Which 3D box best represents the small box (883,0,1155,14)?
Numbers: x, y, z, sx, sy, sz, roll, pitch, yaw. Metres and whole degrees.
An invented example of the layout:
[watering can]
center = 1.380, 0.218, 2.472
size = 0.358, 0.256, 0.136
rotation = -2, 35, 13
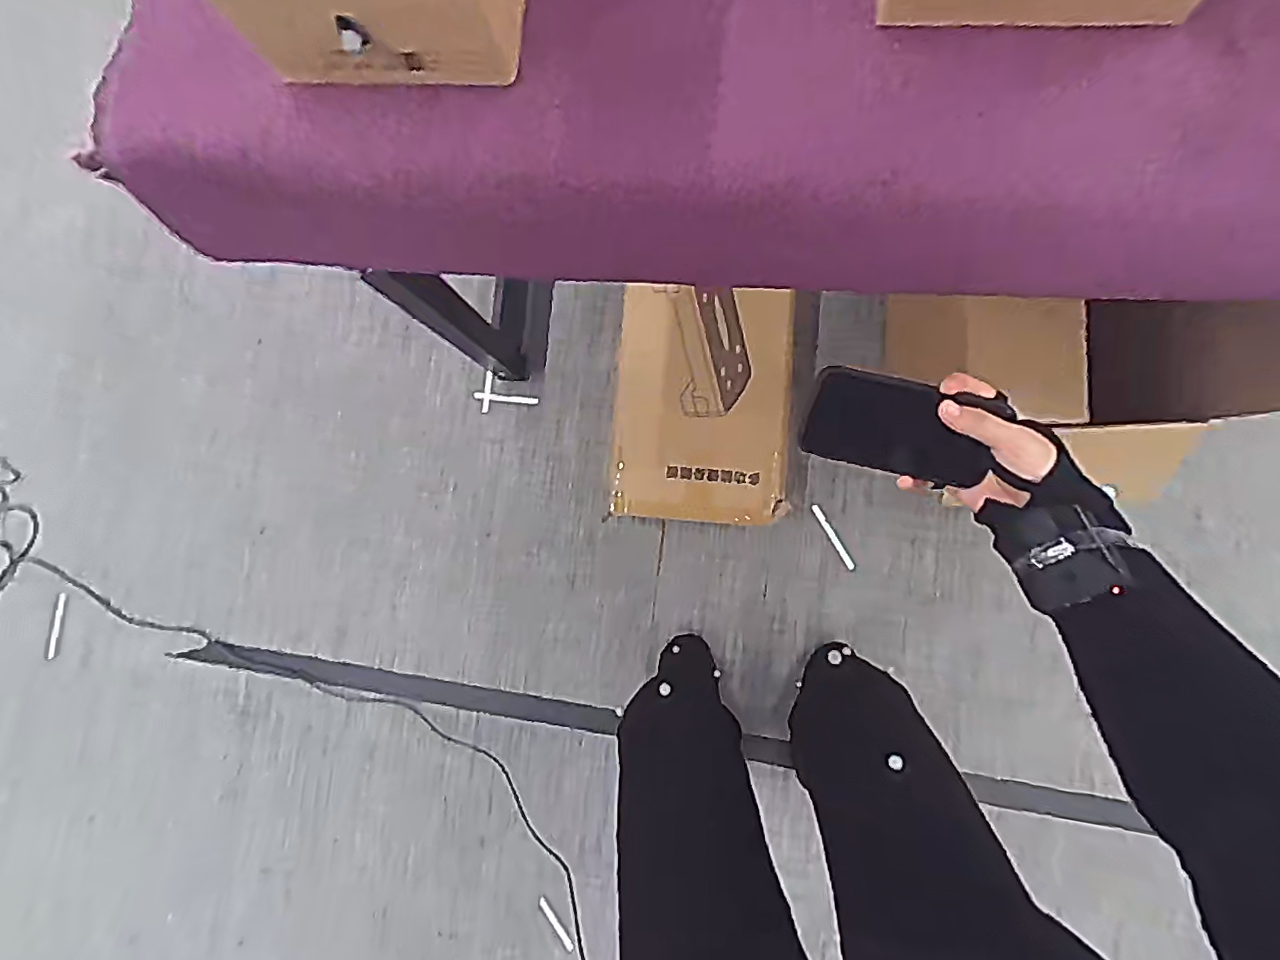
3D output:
[small box]
center = 0.231, -0.364, 0.250
size = 0.179, 0.176, 0.168
rotation = 4, 84, 6
